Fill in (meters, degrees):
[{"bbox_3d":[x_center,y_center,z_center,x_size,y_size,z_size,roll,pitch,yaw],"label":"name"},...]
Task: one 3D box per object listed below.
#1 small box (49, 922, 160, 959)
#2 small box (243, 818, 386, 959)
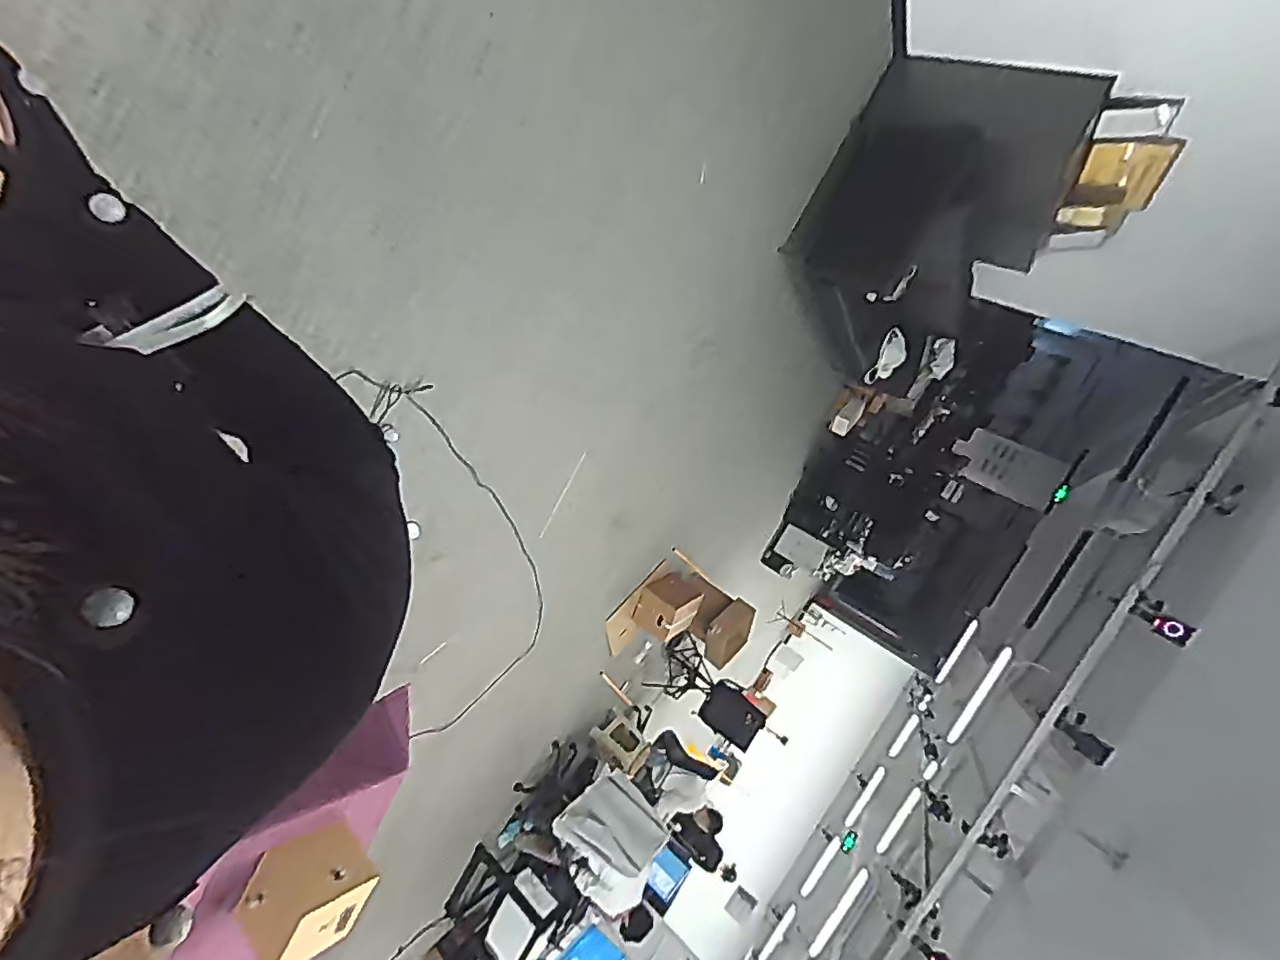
[{"bbox_3d":[-0.878,0.855,0.840,0.168,0.176,0.179,-61,153,4],"label":"small box"},{"bbox_3d":[-0.695,0.871,1.156,0.168,0.176,0.179,-61,152,5],"label":"small box"}]
